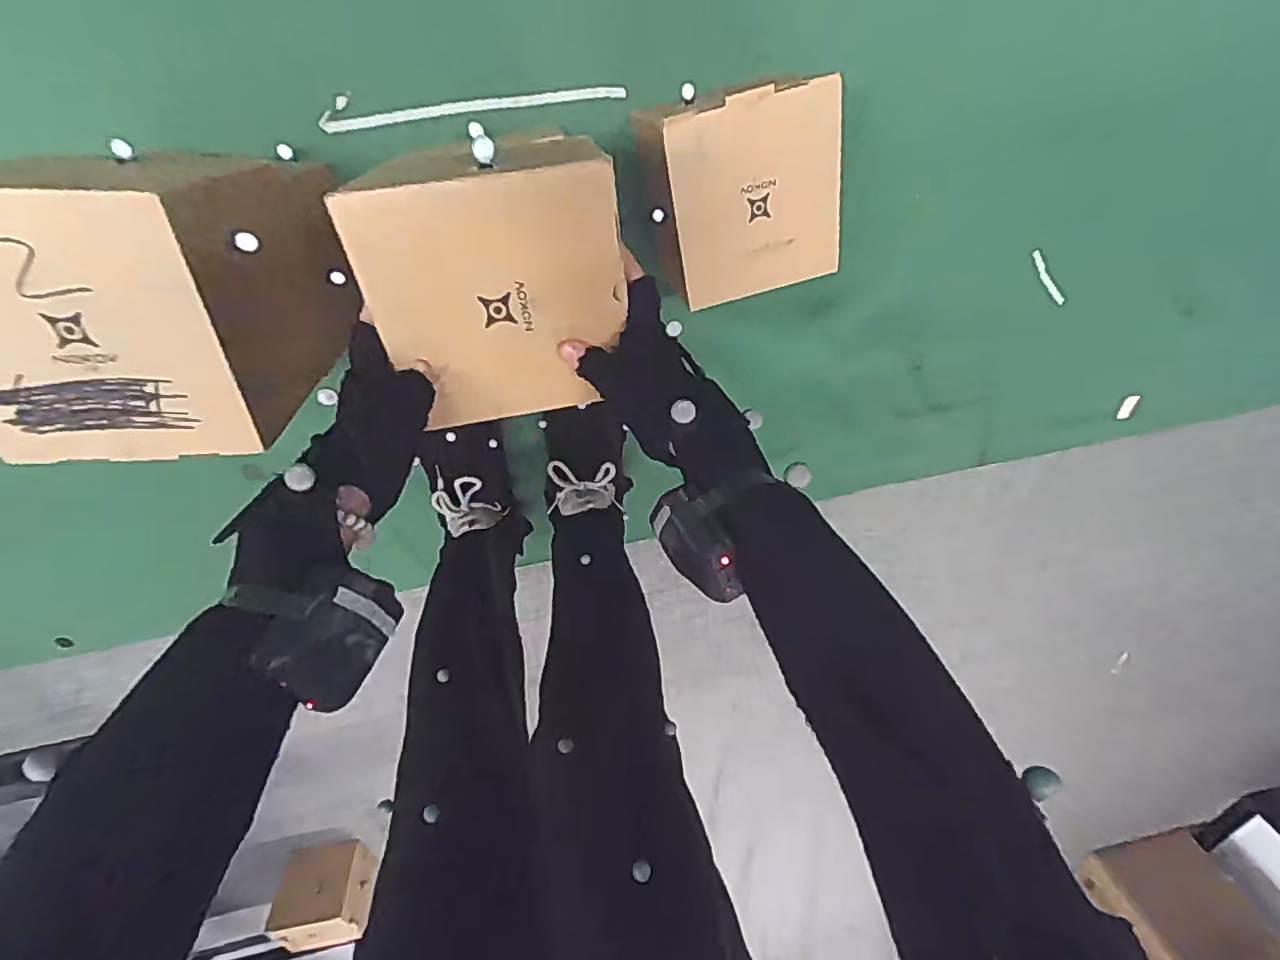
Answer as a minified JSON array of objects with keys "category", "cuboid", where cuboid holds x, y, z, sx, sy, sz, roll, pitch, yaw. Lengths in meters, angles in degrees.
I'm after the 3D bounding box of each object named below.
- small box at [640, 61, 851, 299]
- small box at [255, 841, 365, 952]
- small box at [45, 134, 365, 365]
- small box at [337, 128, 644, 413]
[{"category":"small box","cuboid":[0.104,-0.320,0.578,0.168,0.176,0.179,-15,127,-2]},{"category":"small box","cuboid":[-0.808,1.035,1.352,0.179,0.176,0.168,-8,127,-8]},{"category":"small box","cuboid":[-0.391,-0.229,0.532,0.168,0.176,0.179,-1,126,-11]},{"category":"small box","cuboid":[-0.101,-0.175,0.433,0.179,0.176,0.168,-11,127,-6]}]
